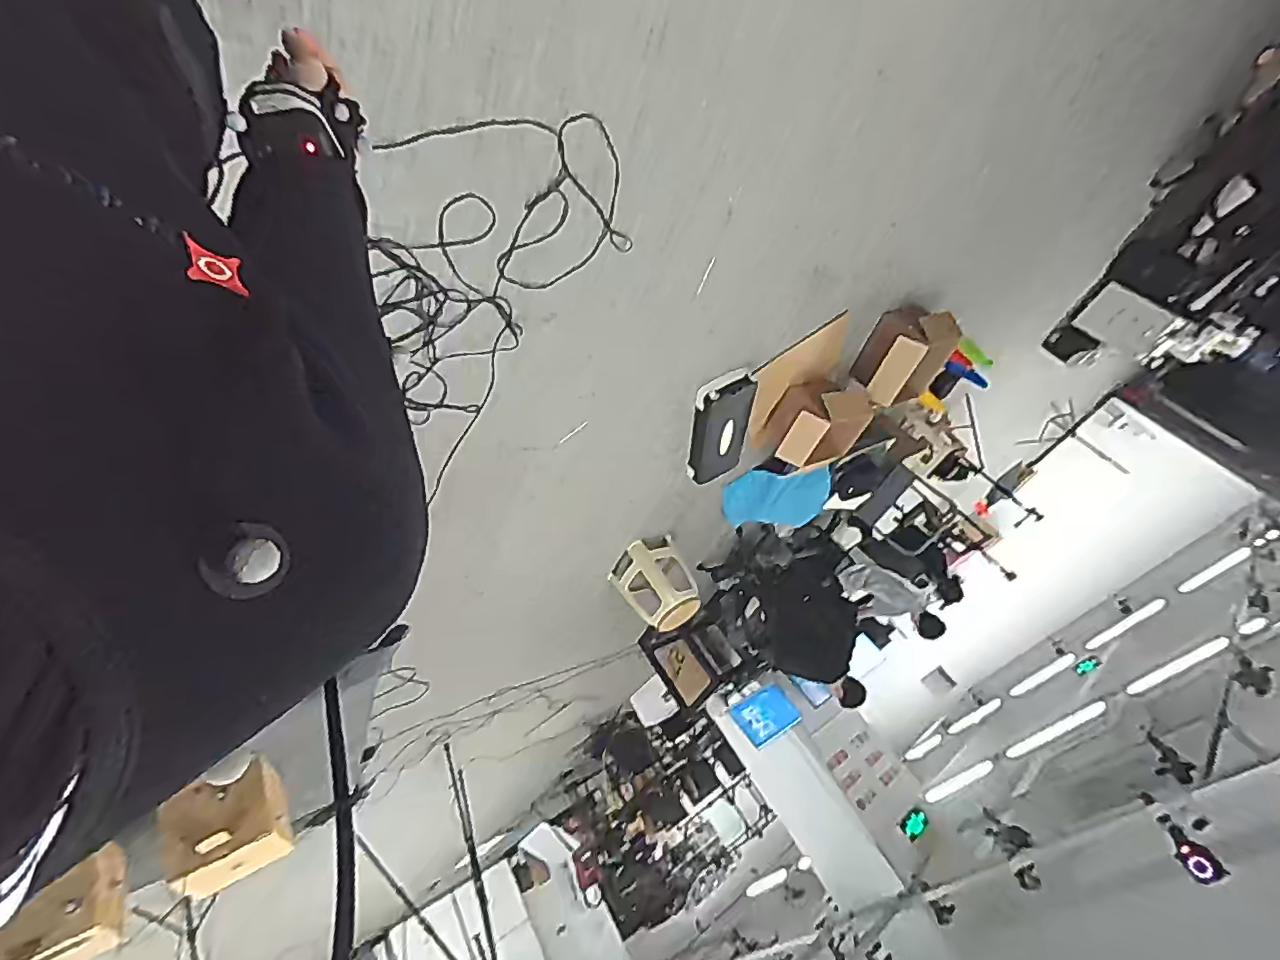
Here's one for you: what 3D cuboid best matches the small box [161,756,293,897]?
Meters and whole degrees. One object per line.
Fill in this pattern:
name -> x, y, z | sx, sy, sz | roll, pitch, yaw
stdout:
small box -> -0.826, 0.692, 1.089 | 0.168, 0.176, 0.179 | -19, 145, -30
